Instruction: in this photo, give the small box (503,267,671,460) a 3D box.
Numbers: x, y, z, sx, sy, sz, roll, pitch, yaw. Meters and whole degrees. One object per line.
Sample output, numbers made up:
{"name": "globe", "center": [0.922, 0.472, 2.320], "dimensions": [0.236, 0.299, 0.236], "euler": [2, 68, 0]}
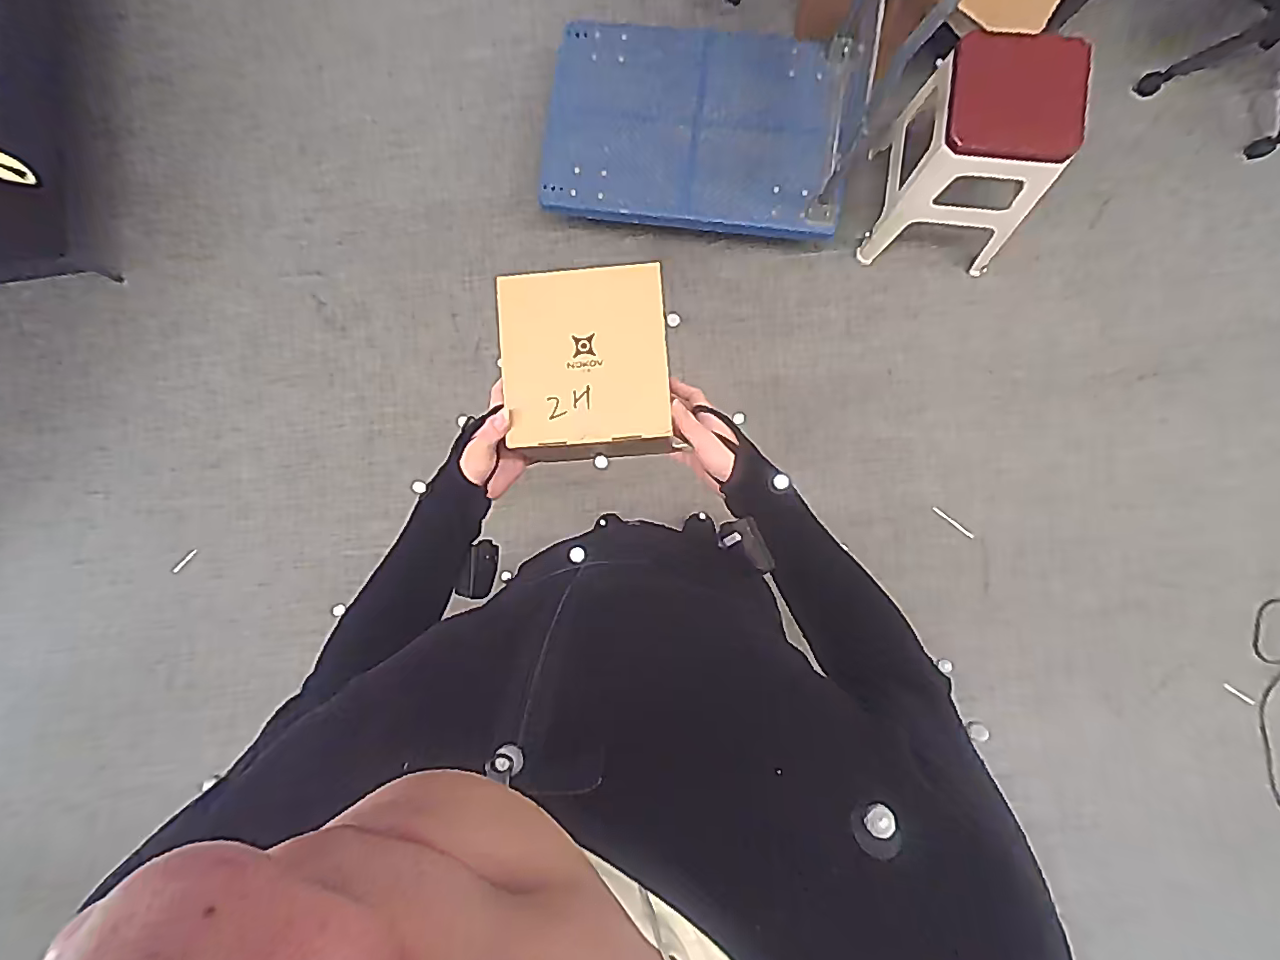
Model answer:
{"name": "small box", "center": [-0.053, -0.121, 0.622], "dimensions": [0.168, 0.176, 0.179], "euler": [-4, 87, 2]}
